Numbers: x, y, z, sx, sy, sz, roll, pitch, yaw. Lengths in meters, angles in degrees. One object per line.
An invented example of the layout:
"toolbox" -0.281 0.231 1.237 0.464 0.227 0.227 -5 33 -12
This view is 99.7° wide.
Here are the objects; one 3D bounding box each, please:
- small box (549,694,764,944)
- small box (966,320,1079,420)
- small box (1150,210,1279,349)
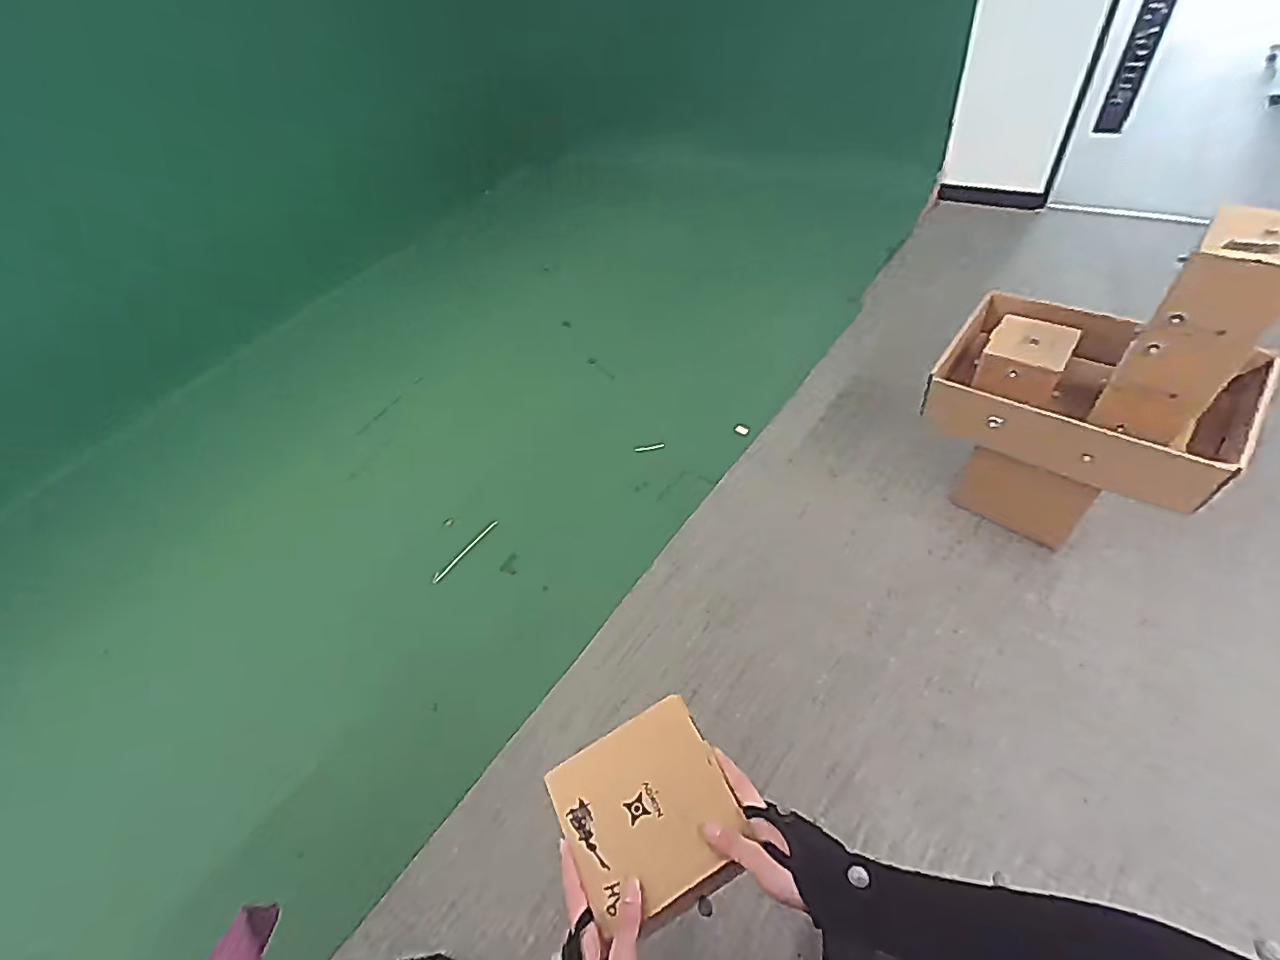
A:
"small box" 0.023 0.382 0.616 0.179 0.176 0.168 -27 50 -9
"small box" 0.990 -0.285 1.415 0.179 0.176 0.168 29 65 30
"small box" 1.123 -0.377 1.025 0.168 0.176 0.179 29 64 31
